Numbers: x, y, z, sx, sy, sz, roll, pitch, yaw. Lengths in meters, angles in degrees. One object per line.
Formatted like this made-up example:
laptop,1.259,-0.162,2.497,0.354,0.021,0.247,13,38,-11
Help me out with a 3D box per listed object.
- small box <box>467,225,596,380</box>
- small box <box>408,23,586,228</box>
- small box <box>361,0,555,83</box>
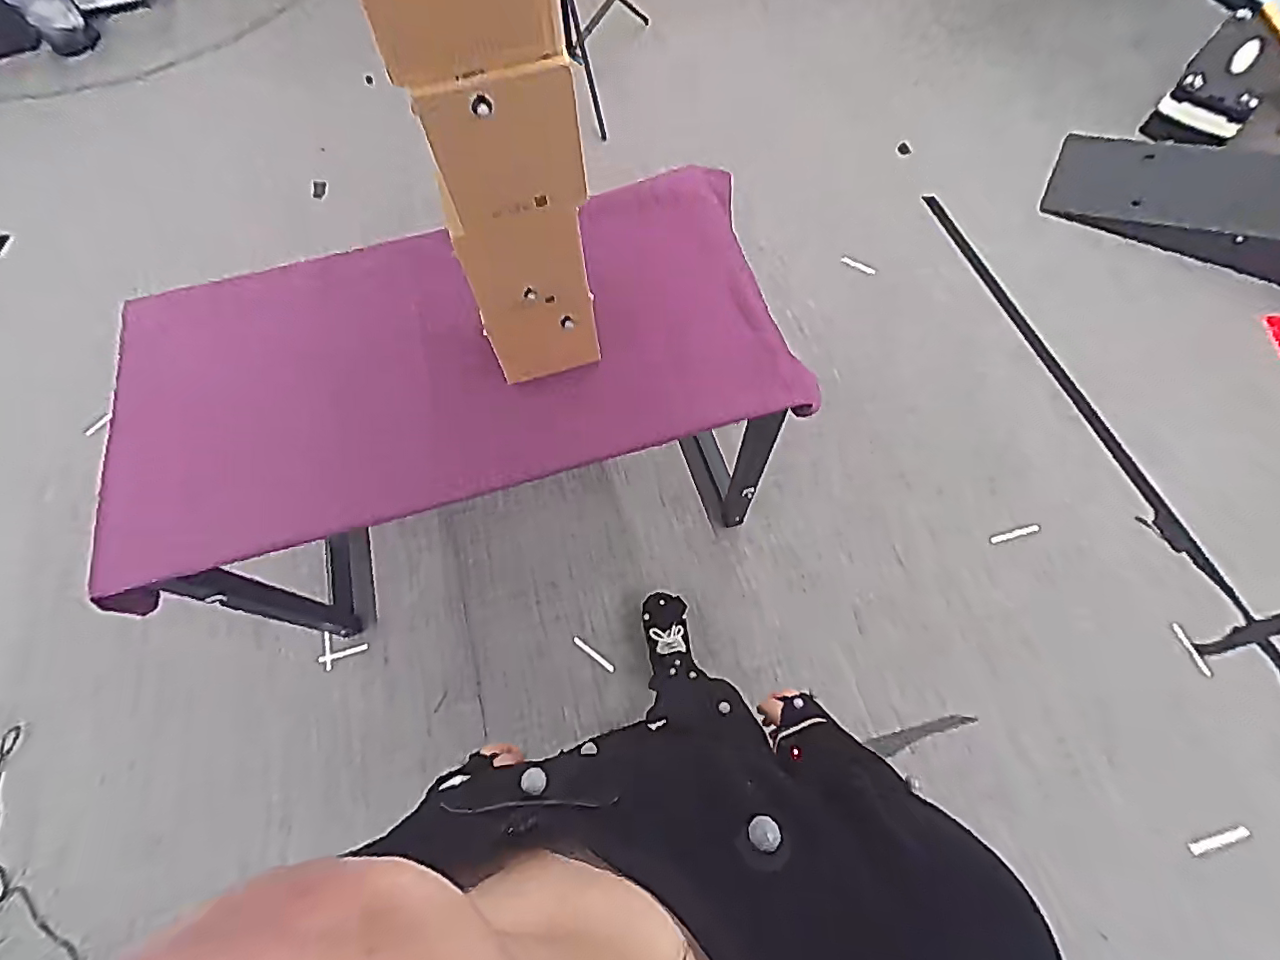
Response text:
small box,-0.179,-0.301,0.940,0.179,0.176,0.168,-17,66,-5
small box,-0.170,-0.439,0.644,0.168,0.176,0.179,-17,66,-6
small box,-0.184,-0.514,0.500,0.179,0.176,0.168,-17,67,-6
